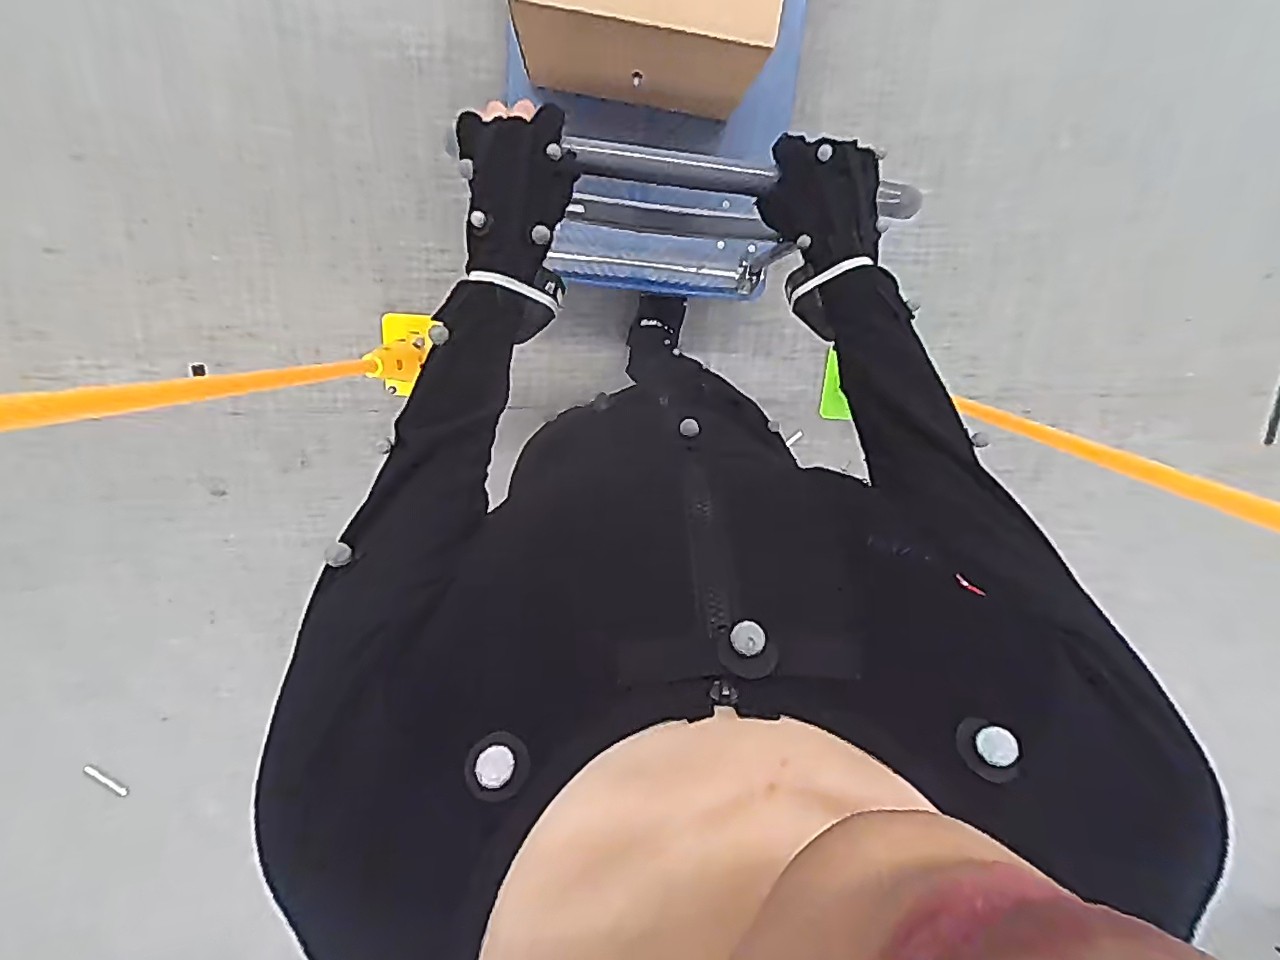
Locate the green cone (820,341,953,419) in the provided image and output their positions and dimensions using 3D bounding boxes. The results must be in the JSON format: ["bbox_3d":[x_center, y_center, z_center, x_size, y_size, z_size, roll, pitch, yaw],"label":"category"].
[{"bbox_3d":[0.605,-0.219,1.285,0.202,0.368,0.200,2,105,-6],"label":"green cone"}]

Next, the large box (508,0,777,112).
[{"bbox_3d":[0.011,-0.868,0.906,0.408,0.320,0.320,6,105,-6],"label":"large box"}]
